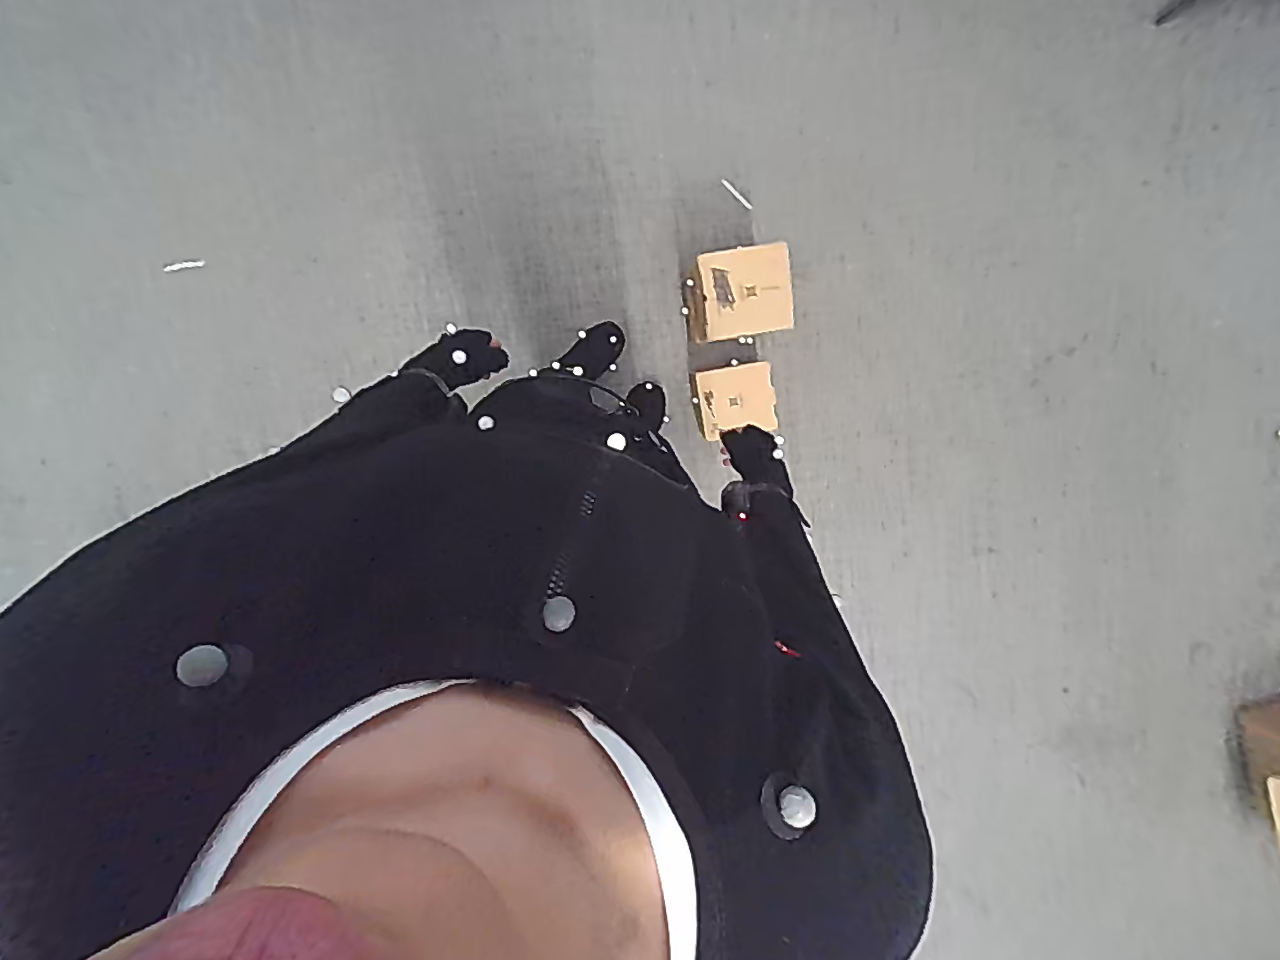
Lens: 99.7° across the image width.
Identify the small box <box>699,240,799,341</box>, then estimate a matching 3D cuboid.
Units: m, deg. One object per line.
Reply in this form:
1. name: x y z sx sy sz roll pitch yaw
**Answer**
1. small box: 0.219 -0.388 1.133 0.179 0.176 0.168 -9 103 3
